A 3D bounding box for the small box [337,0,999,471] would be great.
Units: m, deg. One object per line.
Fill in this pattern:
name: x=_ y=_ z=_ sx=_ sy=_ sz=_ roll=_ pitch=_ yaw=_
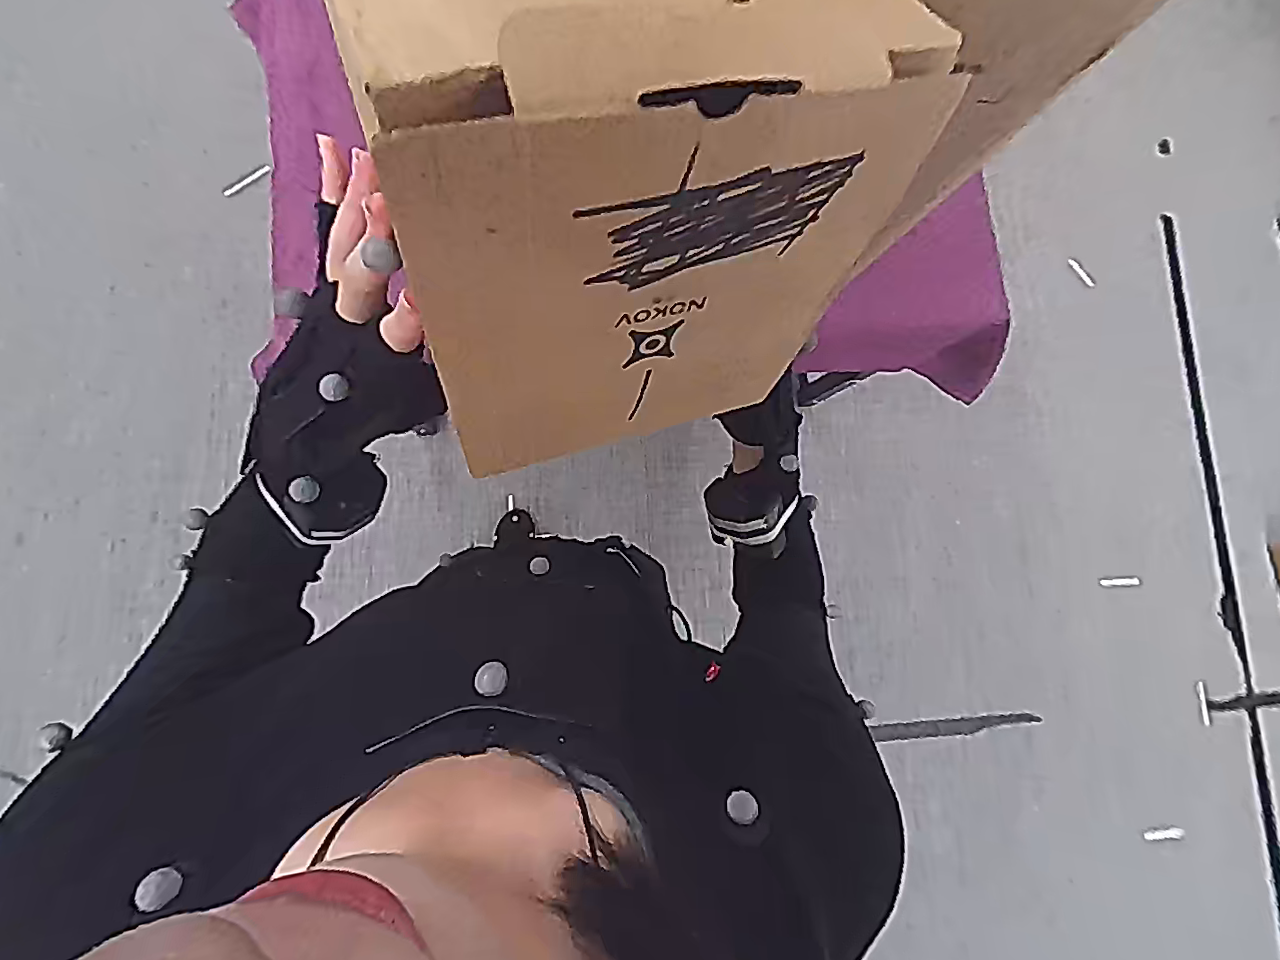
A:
small box: x=-0.017 y=-0.134 z=0.227 sx=0.168 sy=0.179 sz=0.176 roll=-16 pitch=66 yaw=-17
